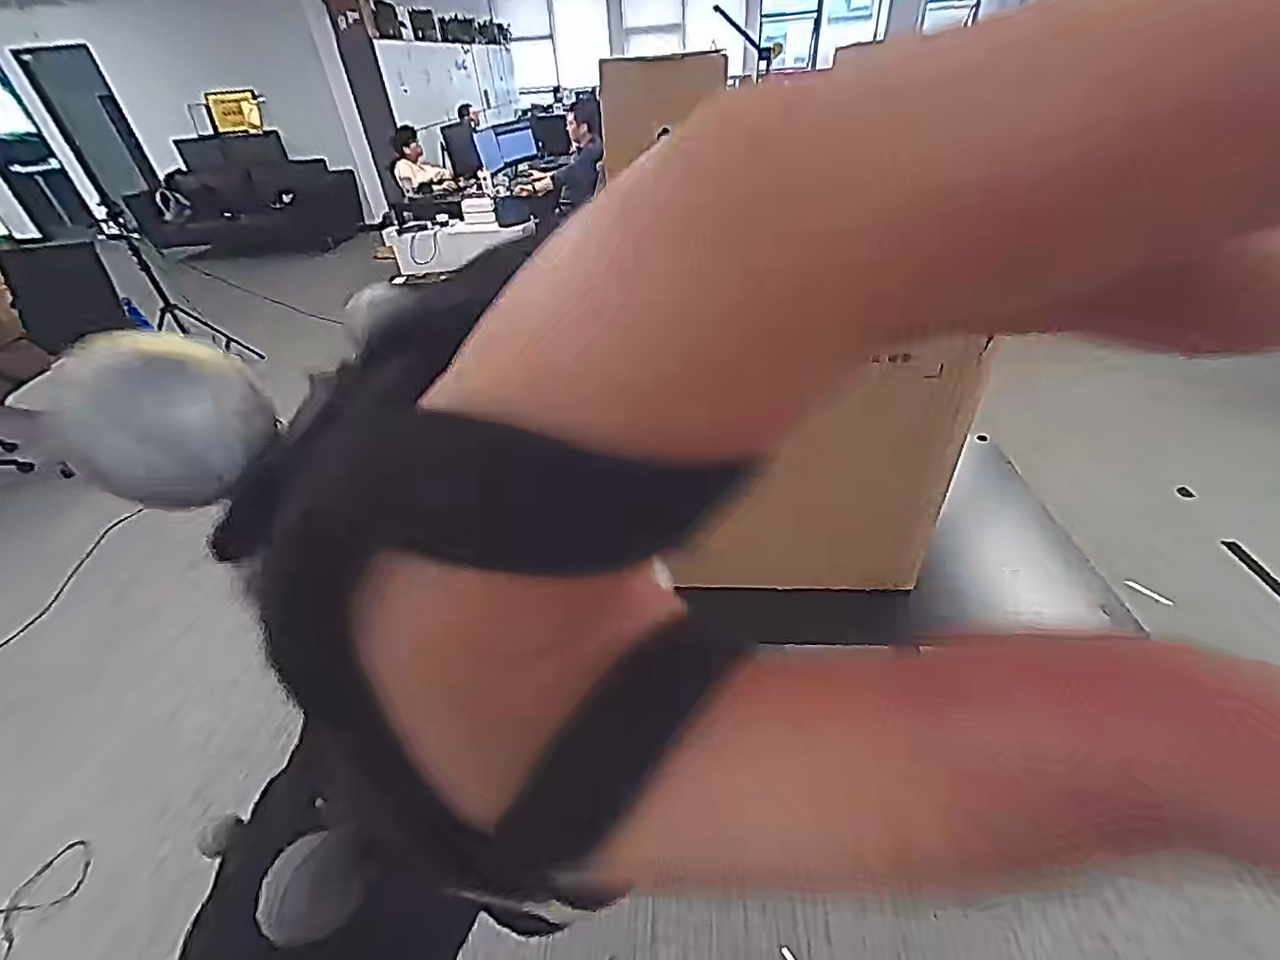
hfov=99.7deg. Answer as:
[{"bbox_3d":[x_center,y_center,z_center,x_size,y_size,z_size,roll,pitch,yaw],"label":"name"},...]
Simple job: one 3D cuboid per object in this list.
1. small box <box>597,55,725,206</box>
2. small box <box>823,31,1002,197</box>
[{"bbox_3d":[0.032,-0.505,0.788,0.168,0.176,0.179,-2,37,1],"label":"small box"},{"bbox_3d":[0.357,-0.502,0.751,0.168,0.176,0.179,-1,37,9],"label":"small box"}]
